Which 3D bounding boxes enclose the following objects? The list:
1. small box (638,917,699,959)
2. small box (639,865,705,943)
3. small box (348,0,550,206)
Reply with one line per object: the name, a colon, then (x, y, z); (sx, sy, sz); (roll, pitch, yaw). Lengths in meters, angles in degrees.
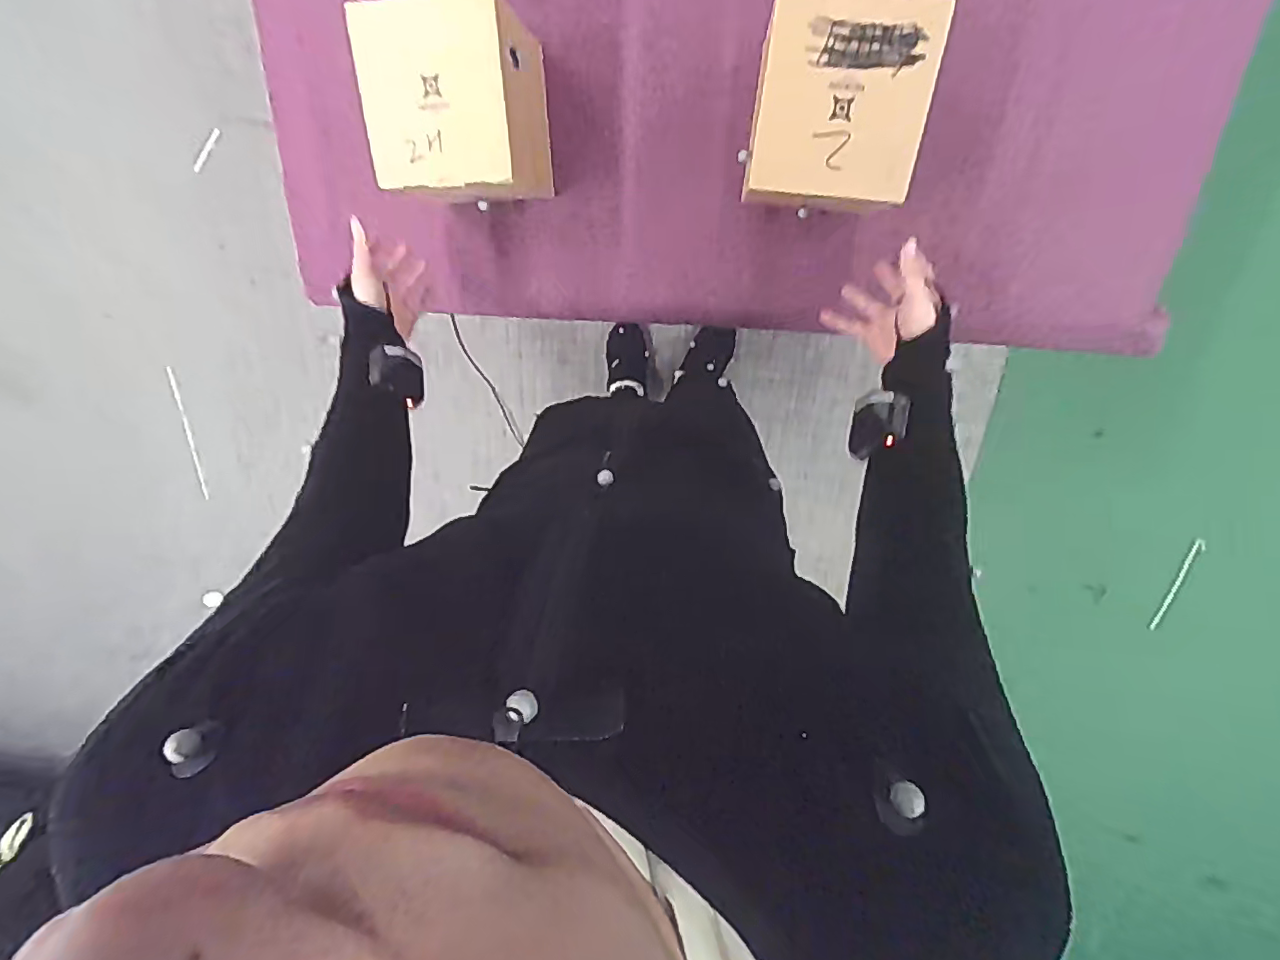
small box: (0.083, 1.487, 1.643); (0.168, 0.176, 0.179); (14, 113, 3)
small box: (0.111, 1.424, 1.792); (0.179, 0.176, 0.168); (15, 113, 3)
small box: (-0.216, -0.446, 0.663); (0.168, 0.176, 0.179); (2, 111, 8)
